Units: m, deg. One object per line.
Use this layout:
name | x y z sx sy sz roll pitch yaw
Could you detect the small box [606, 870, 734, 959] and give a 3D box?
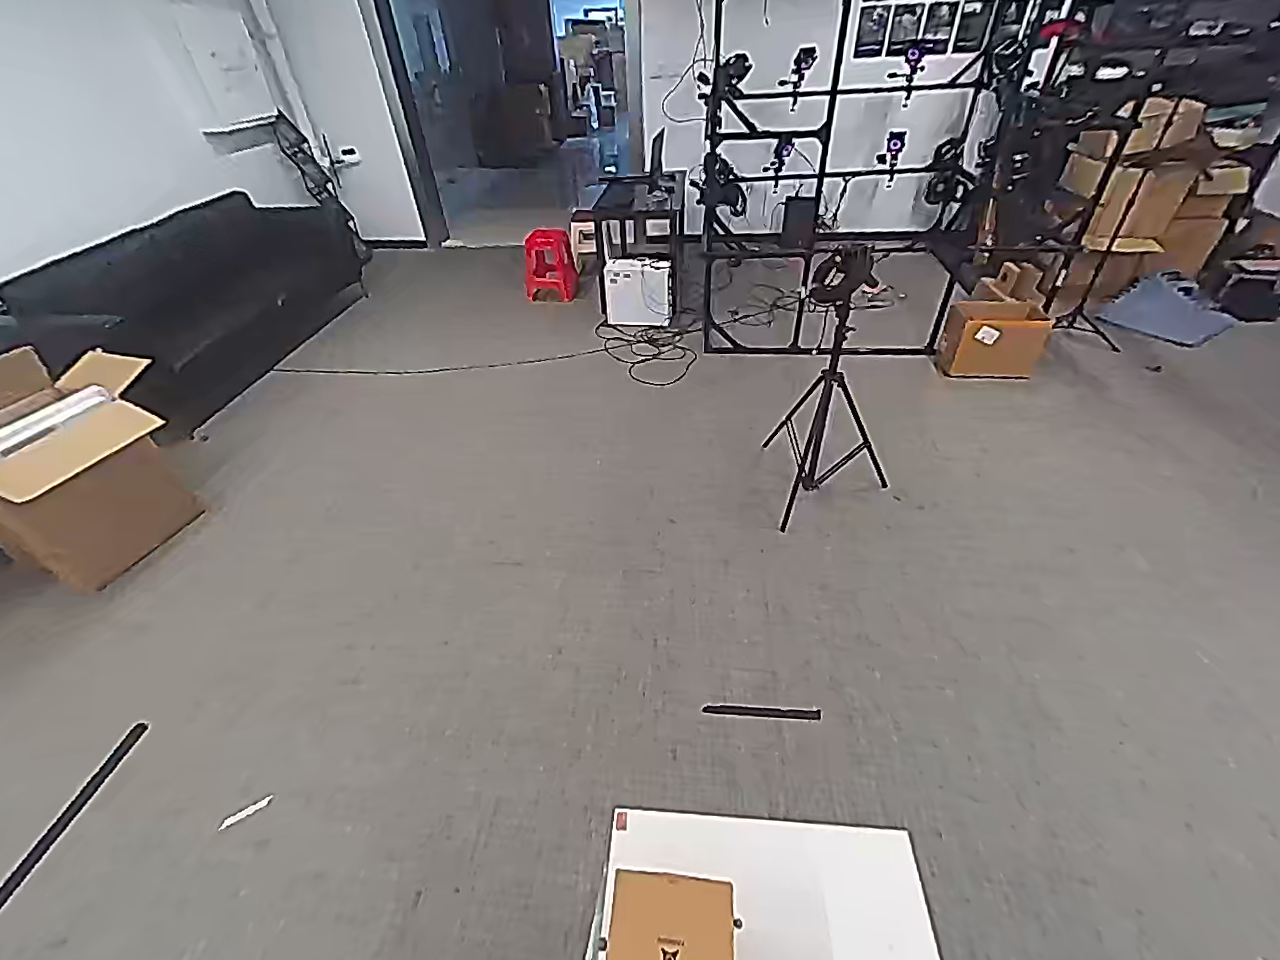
small box | 0.042 0.672 0.742 0.168 0.176 0.179 2 40 6
